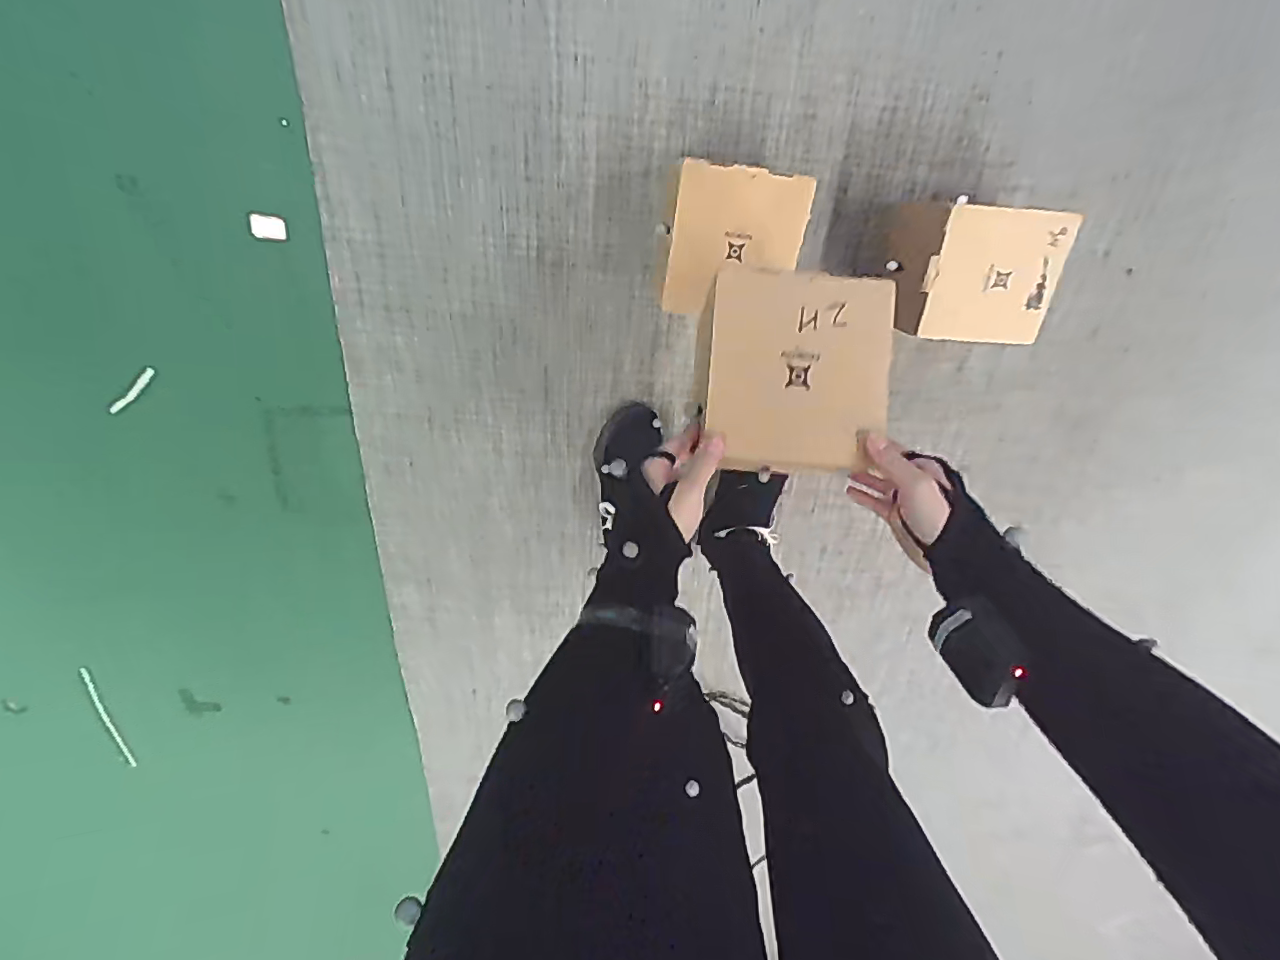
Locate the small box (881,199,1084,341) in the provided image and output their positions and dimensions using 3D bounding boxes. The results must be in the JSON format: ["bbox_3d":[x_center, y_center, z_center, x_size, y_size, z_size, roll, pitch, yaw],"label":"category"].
[{"bbox_3d":[0.460,-0.303,0.774,0.179,0.176,0.168,2,117,-2],"label":"small box"}]

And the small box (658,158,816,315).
[{"bbox_3d":[0.118,-0.329,0.749,0.168,0.176,0.179,5,116,-5],"label":"small box"}]

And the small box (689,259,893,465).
[{"bbox_3d":[0.144,-0.110,0.575,0.168,0.176,0.179,5,89,0],"label":"small box"}]
